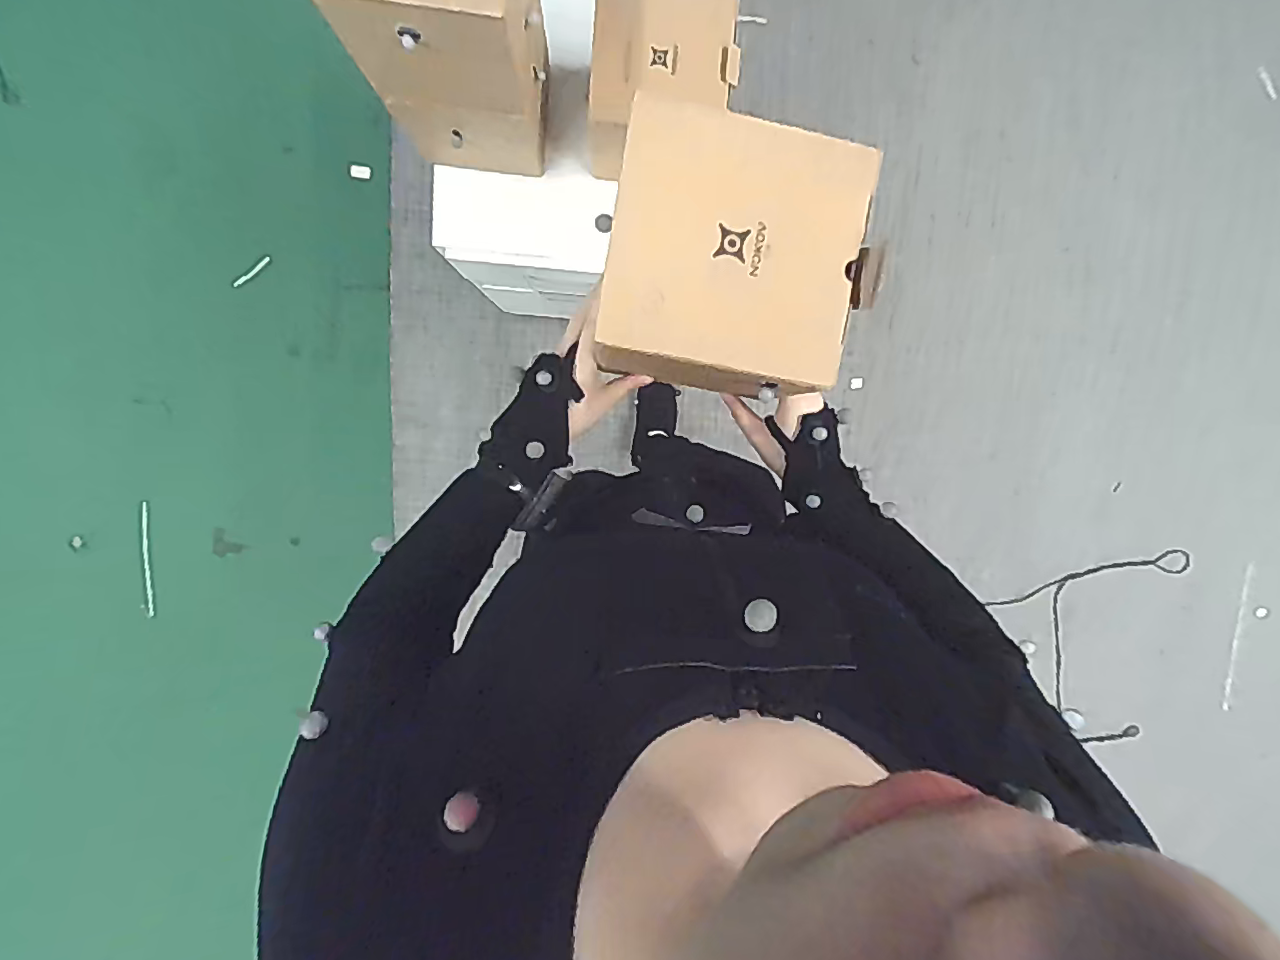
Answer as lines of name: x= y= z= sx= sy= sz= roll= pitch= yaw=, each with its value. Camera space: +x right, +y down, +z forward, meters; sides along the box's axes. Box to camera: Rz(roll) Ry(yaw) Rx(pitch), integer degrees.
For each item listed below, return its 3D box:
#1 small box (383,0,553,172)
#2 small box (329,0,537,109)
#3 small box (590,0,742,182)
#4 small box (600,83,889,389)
small box: x=-0.217 y=-0.535 z=0.719 sx=0.179 sy=0.176 sz=0.168 roll=5 pitch=98 yaw=-4
small box: x=-0.206 y=-0.518 z=0.555 sx=0.179 sy=0.176 sz=0.168 roll=4 pitch=97 yaw=-6
small box: x=0.028 y=-0.520 z=0.736 sx=0.179 sy=0.176 sz=0.168 roll=4 pitch=96 yaw=-2
small box: x=0.064 y=-0.172 z=0.443 sx=0.179 sy=0.176 sz=0.168 roll=9 pitch=95 yaw=-7
